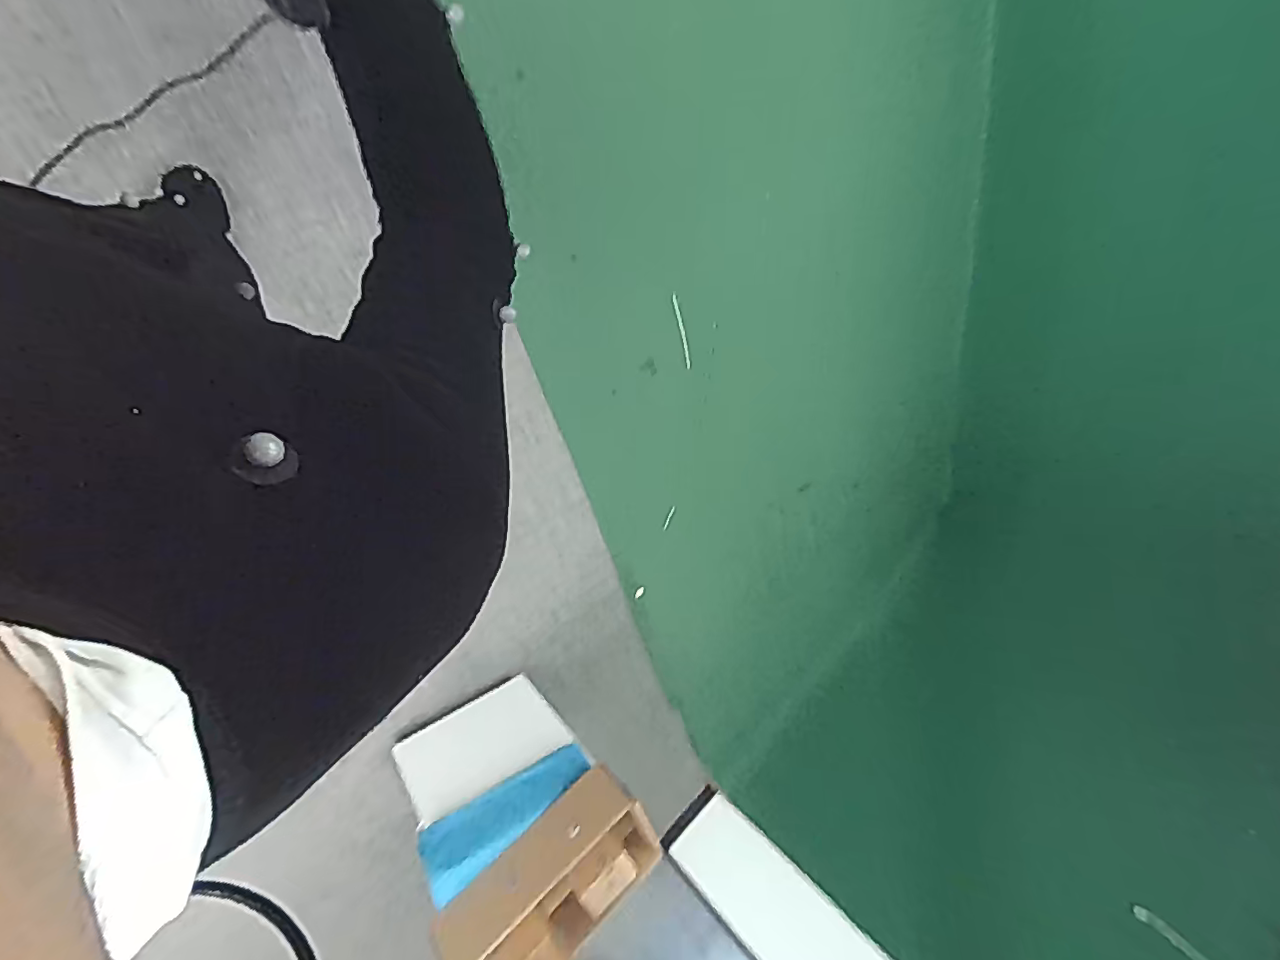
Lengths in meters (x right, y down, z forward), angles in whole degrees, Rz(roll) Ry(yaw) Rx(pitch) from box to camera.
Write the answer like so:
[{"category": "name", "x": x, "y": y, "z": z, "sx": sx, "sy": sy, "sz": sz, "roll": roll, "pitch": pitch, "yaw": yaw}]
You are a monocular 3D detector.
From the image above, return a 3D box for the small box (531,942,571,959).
[{"category": "small box", "x": -0.232, "y": 1.367, "z": 1.410, "sx": 0.168, "sy": 0.176, "sz": 0.179, "roll": -34, "pitch": 128, "yaw": -25}]
